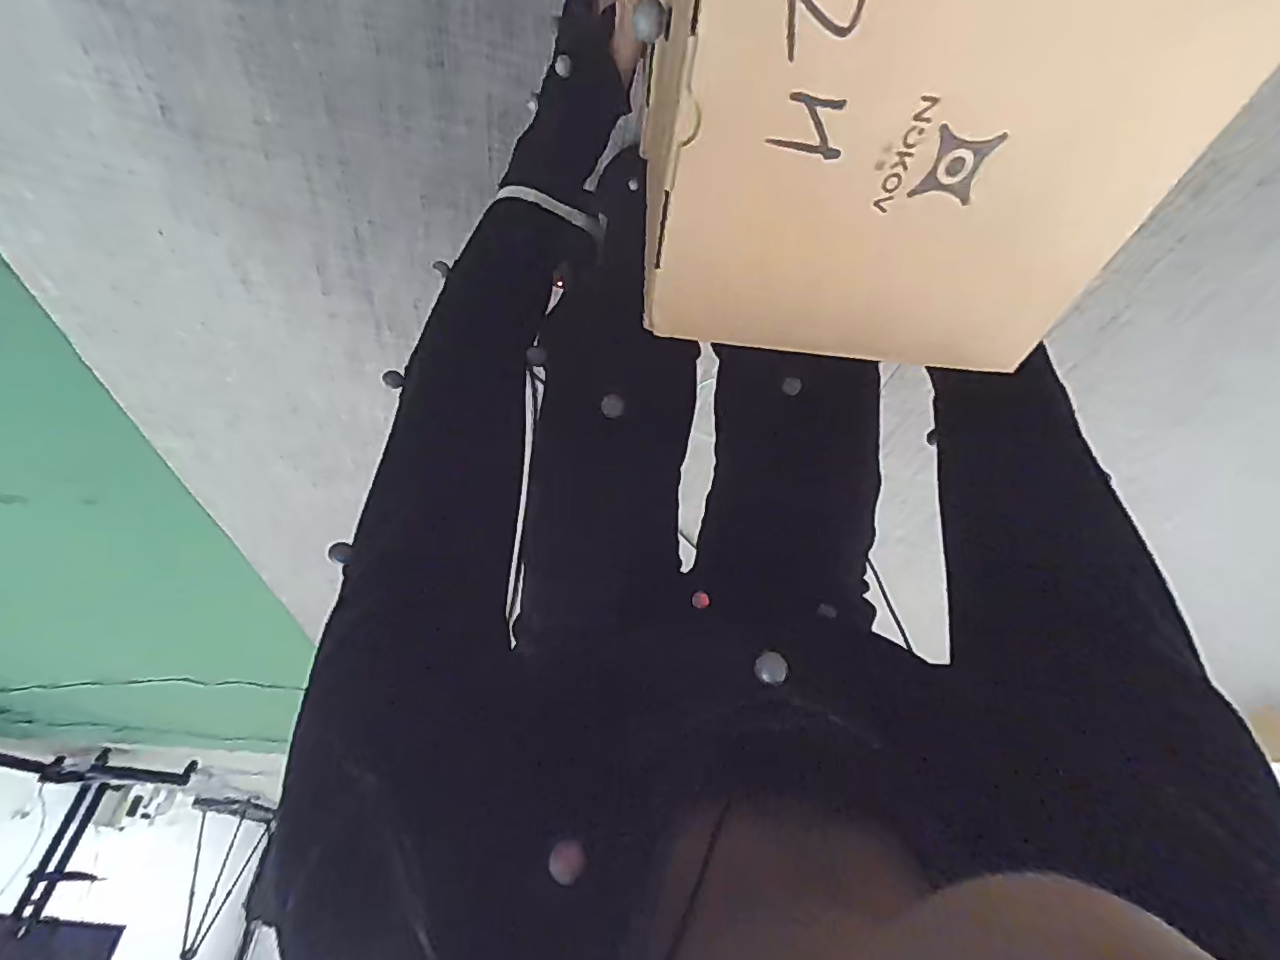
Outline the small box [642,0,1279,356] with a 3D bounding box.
[{"bbox_3d":[0.099,-0.178,0.230,0.179,0.176,0.168,6,141,-4],"label":"small box"}]
